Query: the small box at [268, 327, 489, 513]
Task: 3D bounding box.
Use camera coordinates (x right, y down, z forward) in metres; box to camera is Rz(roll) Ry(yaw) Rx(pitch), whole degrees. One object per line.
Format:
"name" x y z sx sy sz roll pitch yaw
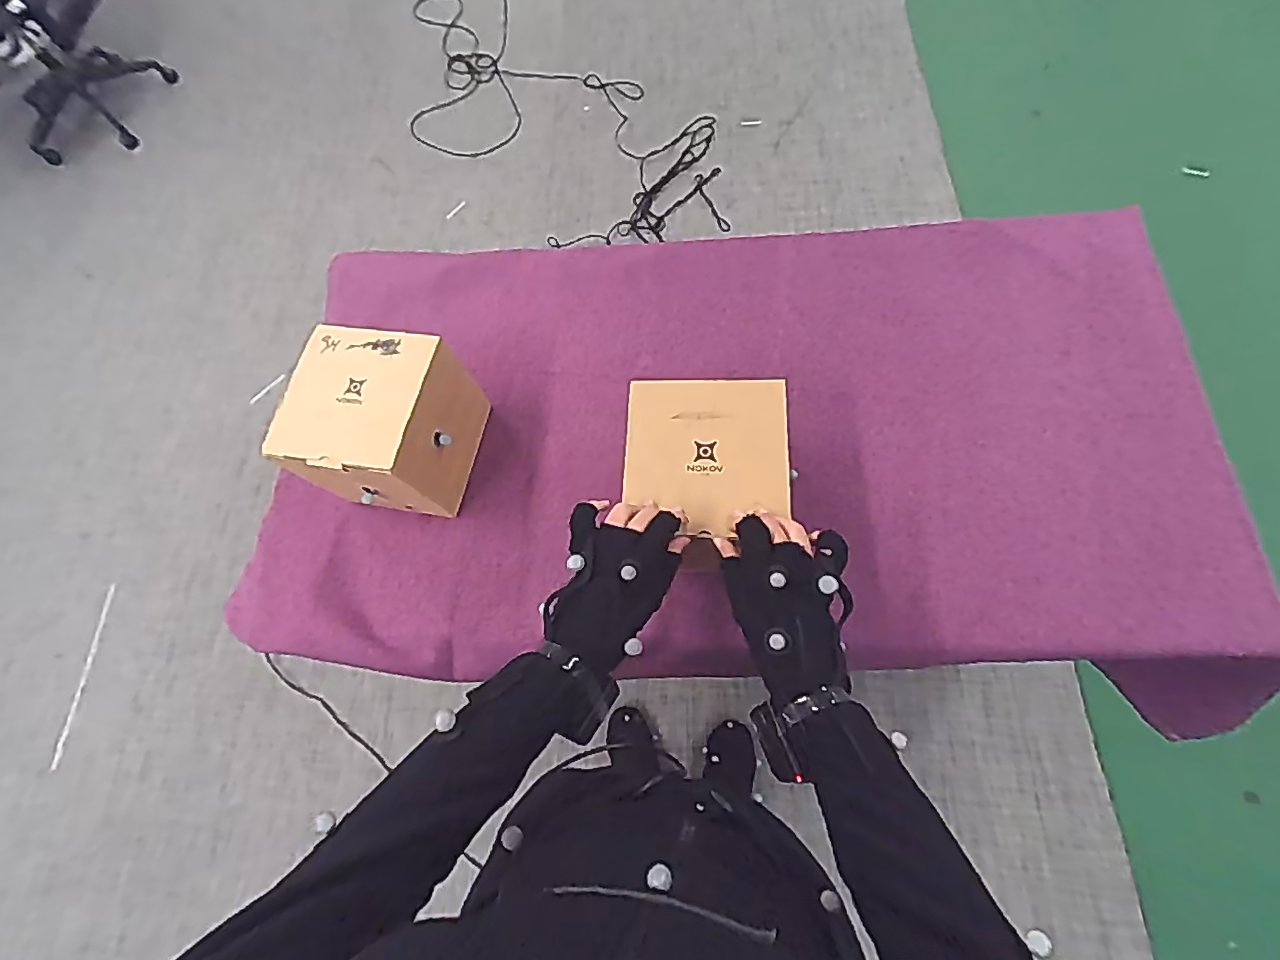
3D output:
"small box" -0.314 -0.067 0.691 0.168 0.176 0.179 8 71 9

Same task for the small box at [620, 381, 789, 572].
"small box" 0.076 0.004 0.619 0.168 0.176 0.179 2 69 7
